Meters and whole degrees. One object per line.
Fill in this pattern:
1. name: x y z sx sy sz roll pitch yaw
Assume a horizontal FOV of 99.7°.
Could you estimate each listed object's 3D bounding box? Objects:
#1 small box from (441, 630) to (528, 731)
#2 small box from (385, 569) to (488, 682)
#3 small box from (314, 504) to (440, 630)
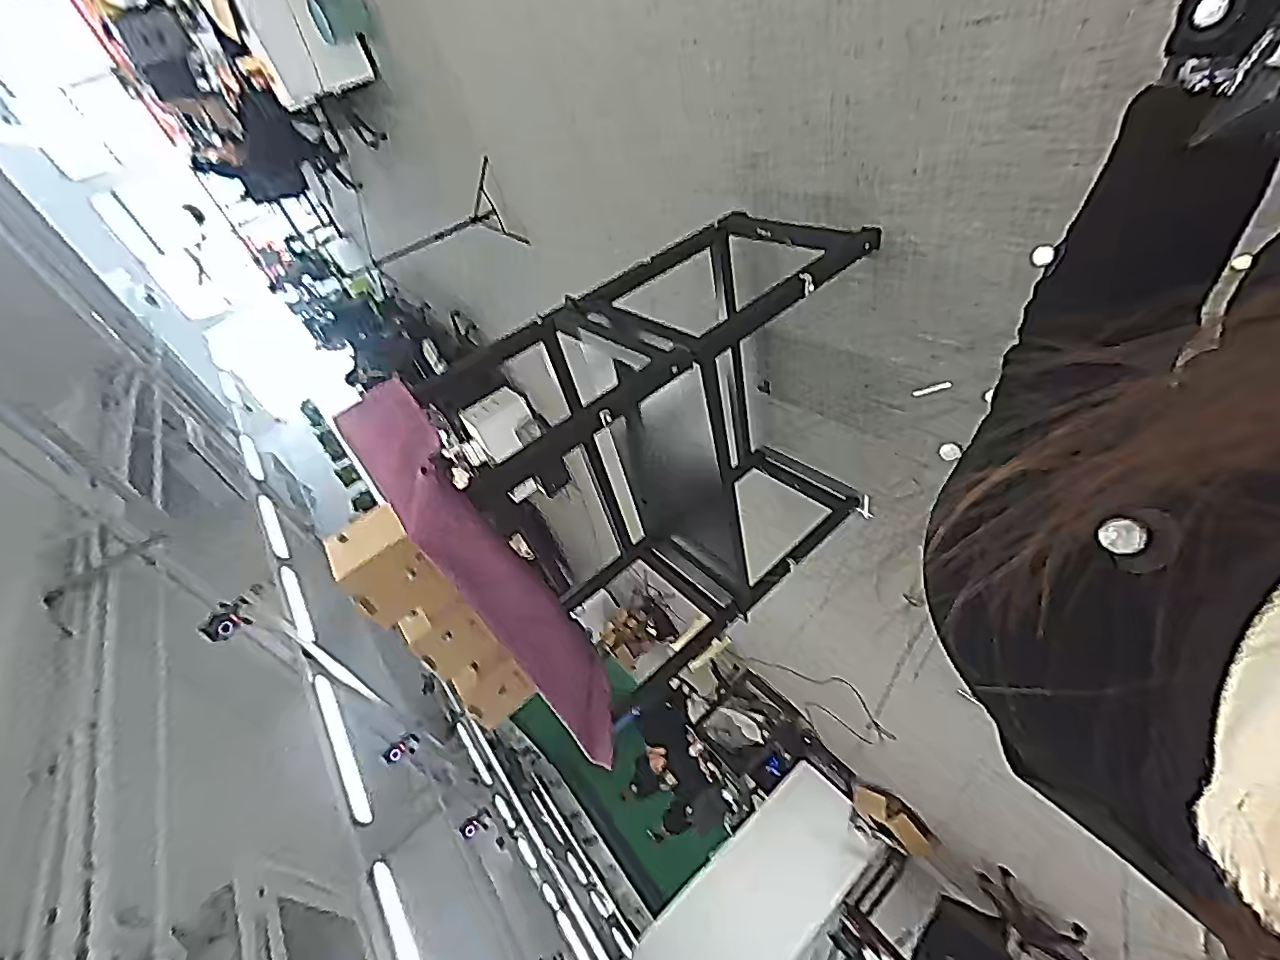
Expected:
1. small box: -0.437 0.550 1.514 0.179 0.176 0.168 27 148 50
2. small box: -0.502 0.353 1.340 0.179 0.176 0.168 33 151 45
3. small box: -0.555 0.175 1.152 0.179 0.176 0.168 31 151 48
